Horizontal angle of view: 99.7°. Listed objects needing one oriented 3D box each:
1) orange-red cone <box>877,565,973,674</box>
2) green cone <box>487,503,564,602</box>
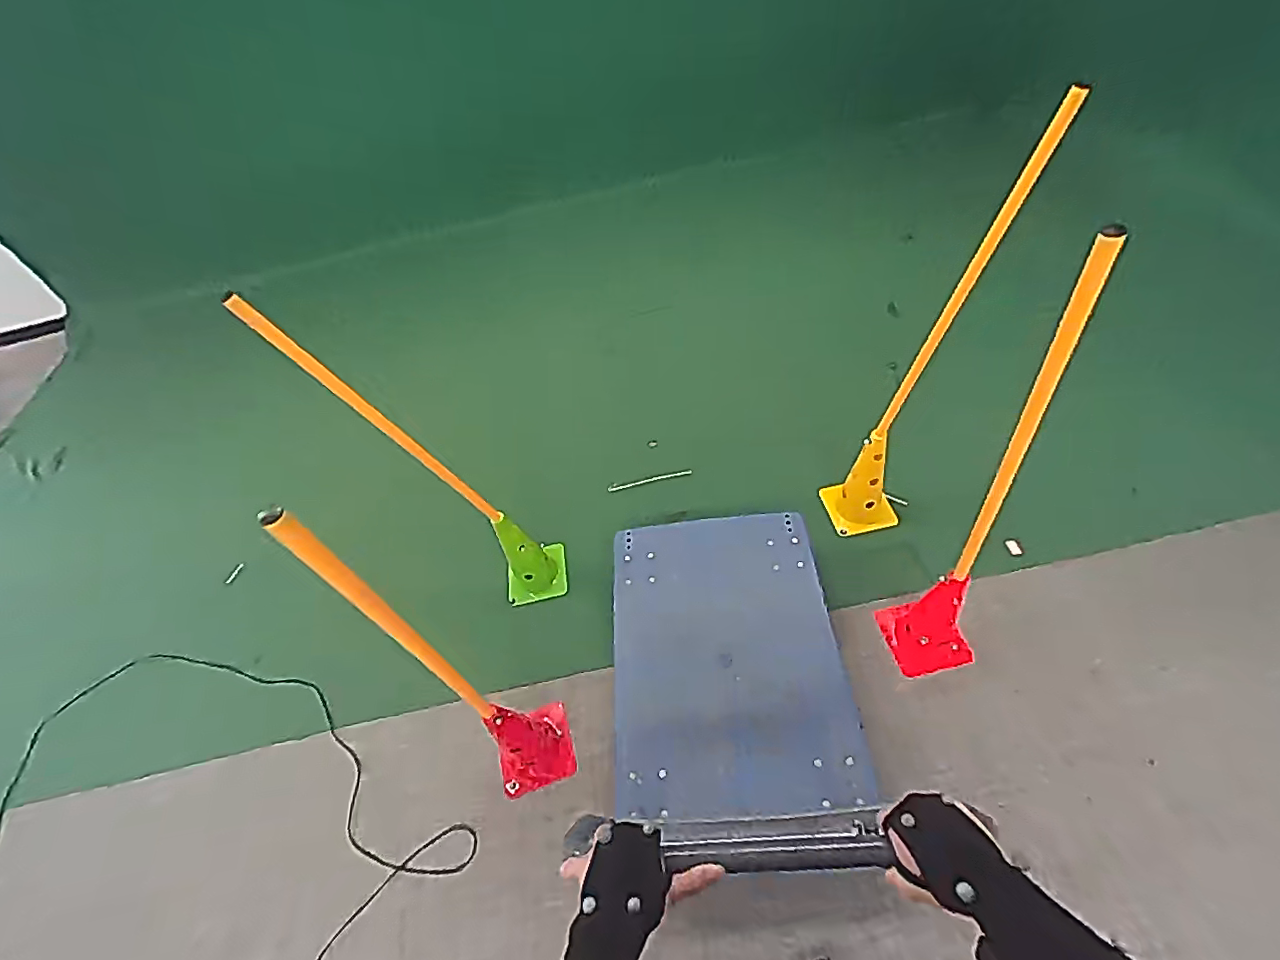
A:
[{"bbox_3d":[0.756,0.318,1.362,0.198,0.360,0.199,-13,49,0],"label":"orange-red cone"},{"bbox_3d":[-0.384,0.197,1.682,0.200,0.368,0.202,-14,50,1],"label":"green cone"}]
